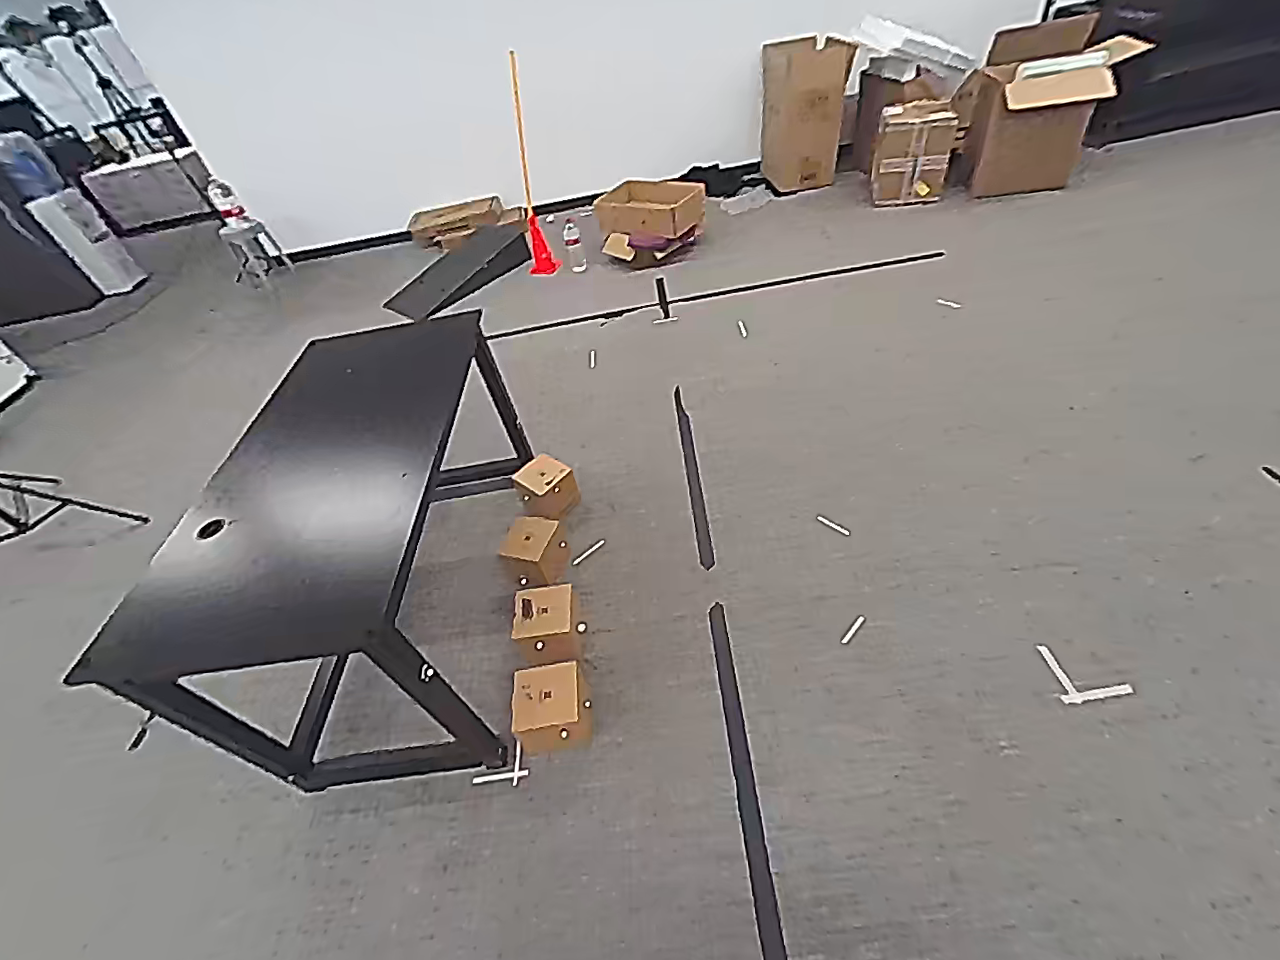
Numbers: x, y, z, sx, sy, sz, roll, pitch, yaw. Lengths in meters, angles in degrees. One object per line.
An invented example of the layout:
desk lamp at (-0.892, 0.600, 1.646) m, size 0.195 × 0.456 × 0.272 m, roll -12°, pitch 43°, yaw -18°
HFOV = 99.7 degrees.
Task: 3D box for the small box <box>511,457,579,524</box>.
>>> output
small box at (-0.364, 0.045, 2.093) m, size 0.179 × 0.176 × 0.168 m, roll 26°, pitch 56°, yaw 32°

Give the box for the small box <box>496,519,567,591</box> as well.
small box at (-0.367, 0.262, 1.881) m, size 0.168 × 0.176 × 0.179 m, roll 6°, pitch 48°, yaw 19°

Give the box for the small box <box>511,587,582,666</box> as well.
small box at (-0.283, 0.456, 1.667) m, size 0.179 × 0.176 × 0.168 m, roll -9°, pitch 45°, yaw 2°
